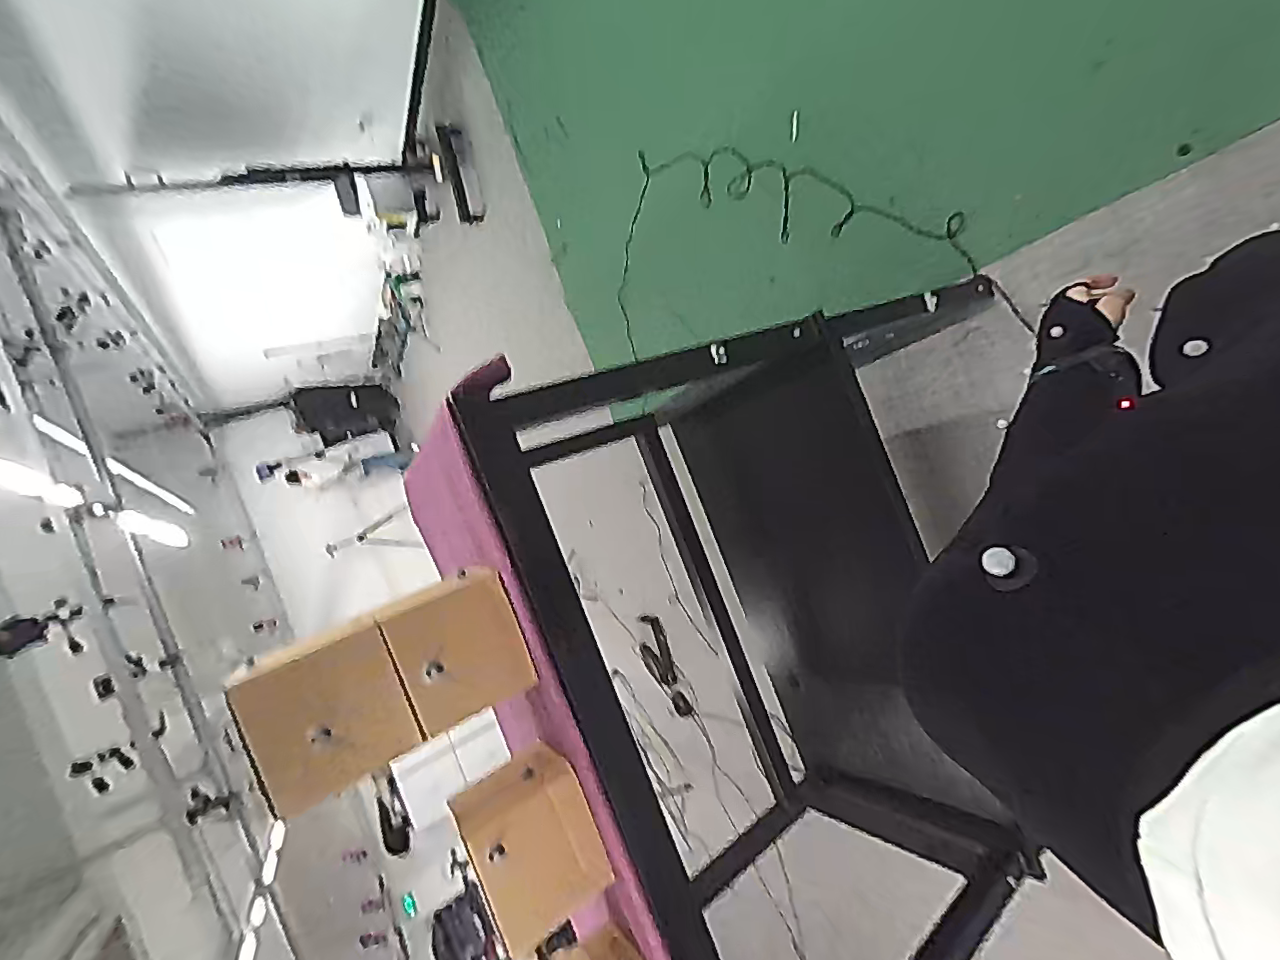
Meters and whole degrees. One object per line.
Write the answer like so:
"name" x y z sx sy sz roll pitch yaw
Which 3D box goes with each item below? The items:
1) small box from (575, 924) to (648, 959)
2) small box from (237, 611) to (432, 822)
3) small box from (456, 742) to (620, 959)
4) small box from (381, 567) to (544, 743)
"small box" -0.035 0.818 0.792 0.168 0.176 0.179 -28 85 60
"small box" -0.395 0.297 0.722 0.168 0.176 0.179 -17 96 59
"small box" -0.152 0.532 0.806 0.168 0.176 0.179 -24 87 61
"small box" -0.263 0.245 0.803 0.168 0.176 0.179 -15 96 60
